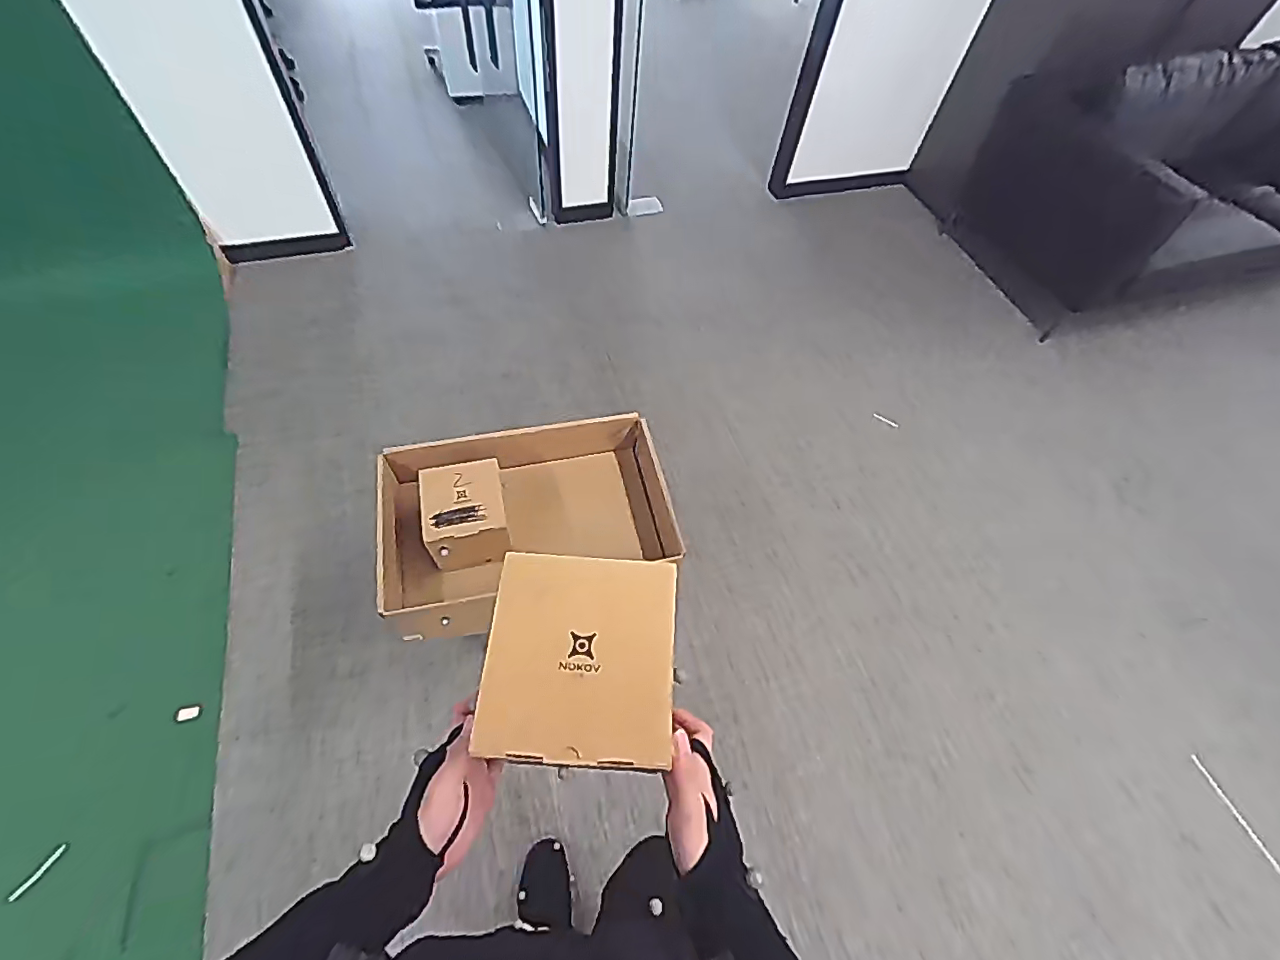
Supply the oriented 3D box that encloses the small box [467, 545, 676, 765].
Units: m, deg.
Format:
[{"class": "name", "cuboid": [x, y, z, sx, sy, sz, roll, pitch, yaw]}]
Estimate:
[{"class": "small box", "cuboid": [-0.056, 0.180, 0.539, 0.168, 0.176, 0.179, 4, 62, -1]}]
